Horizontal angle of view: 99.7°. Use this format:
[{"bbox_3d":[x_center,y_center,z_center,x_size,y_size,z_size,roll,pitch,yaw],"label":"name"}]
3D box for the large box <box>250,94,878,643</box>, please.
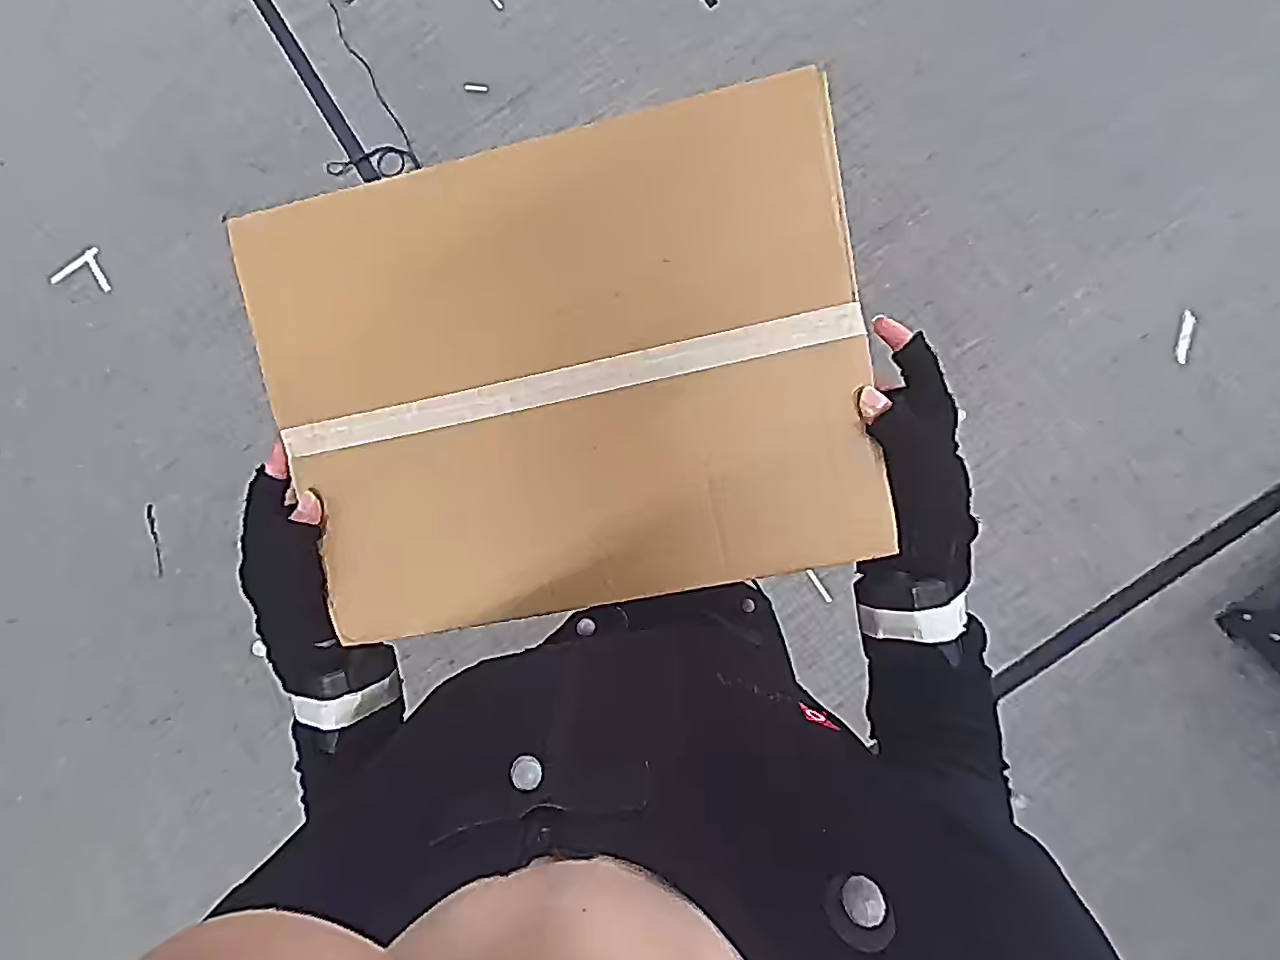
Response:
[{"bbox_3d":[-0.043,-0.079,0.527,0.408,0.320,0.320,-11,95,6],"label":"large box"}]
